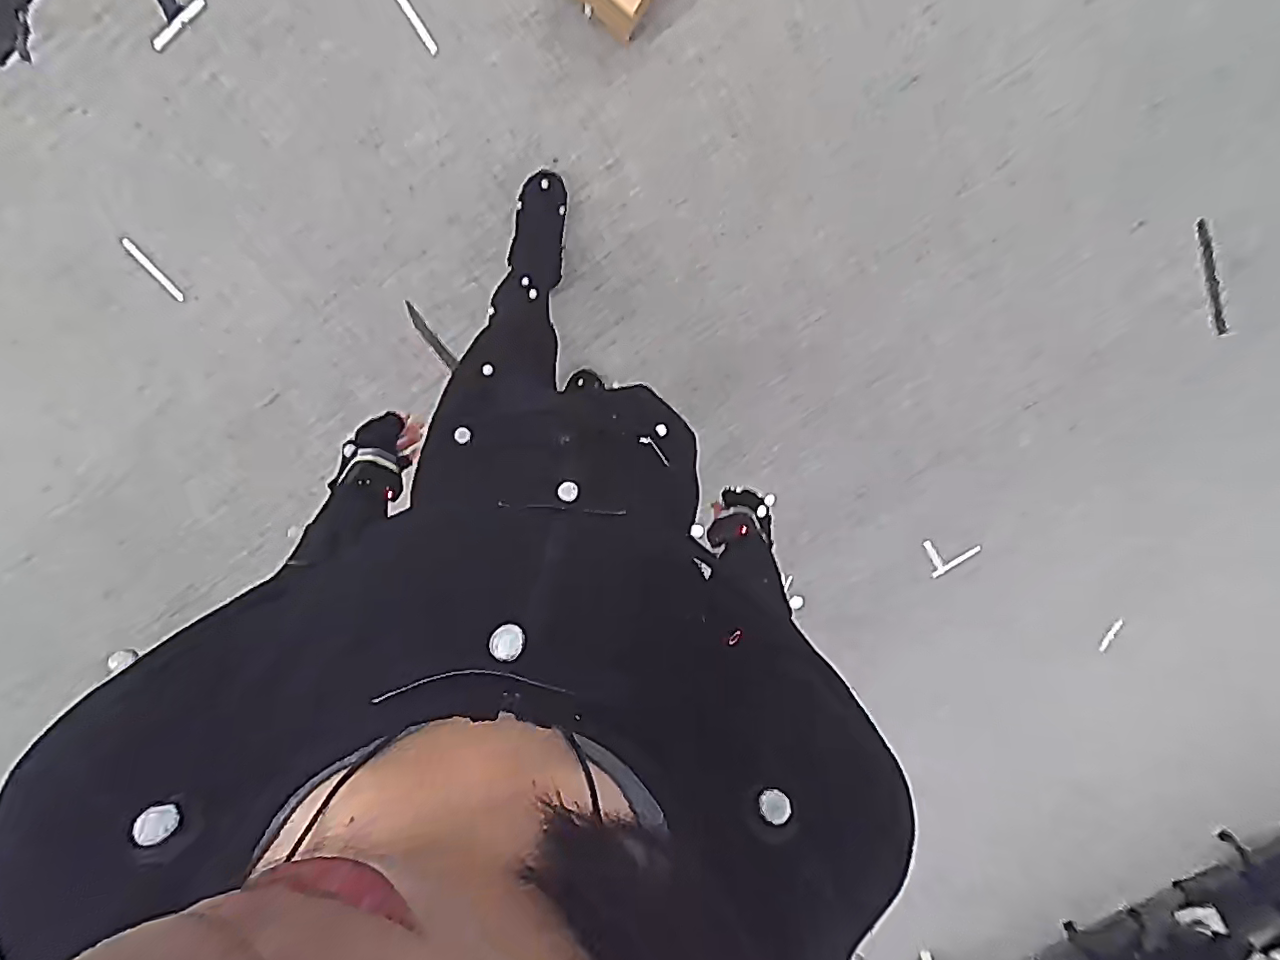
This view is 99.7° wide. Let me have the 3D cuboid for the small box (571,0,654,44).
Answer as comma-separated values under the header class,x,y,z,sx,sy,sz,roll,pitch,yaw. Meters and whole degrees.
class,x,y,z,sx,sy,sz,roll,pitch,yaw
small box,-0.041,-0.991,1.025,0.168,0.176,0.179,30,108,-17
